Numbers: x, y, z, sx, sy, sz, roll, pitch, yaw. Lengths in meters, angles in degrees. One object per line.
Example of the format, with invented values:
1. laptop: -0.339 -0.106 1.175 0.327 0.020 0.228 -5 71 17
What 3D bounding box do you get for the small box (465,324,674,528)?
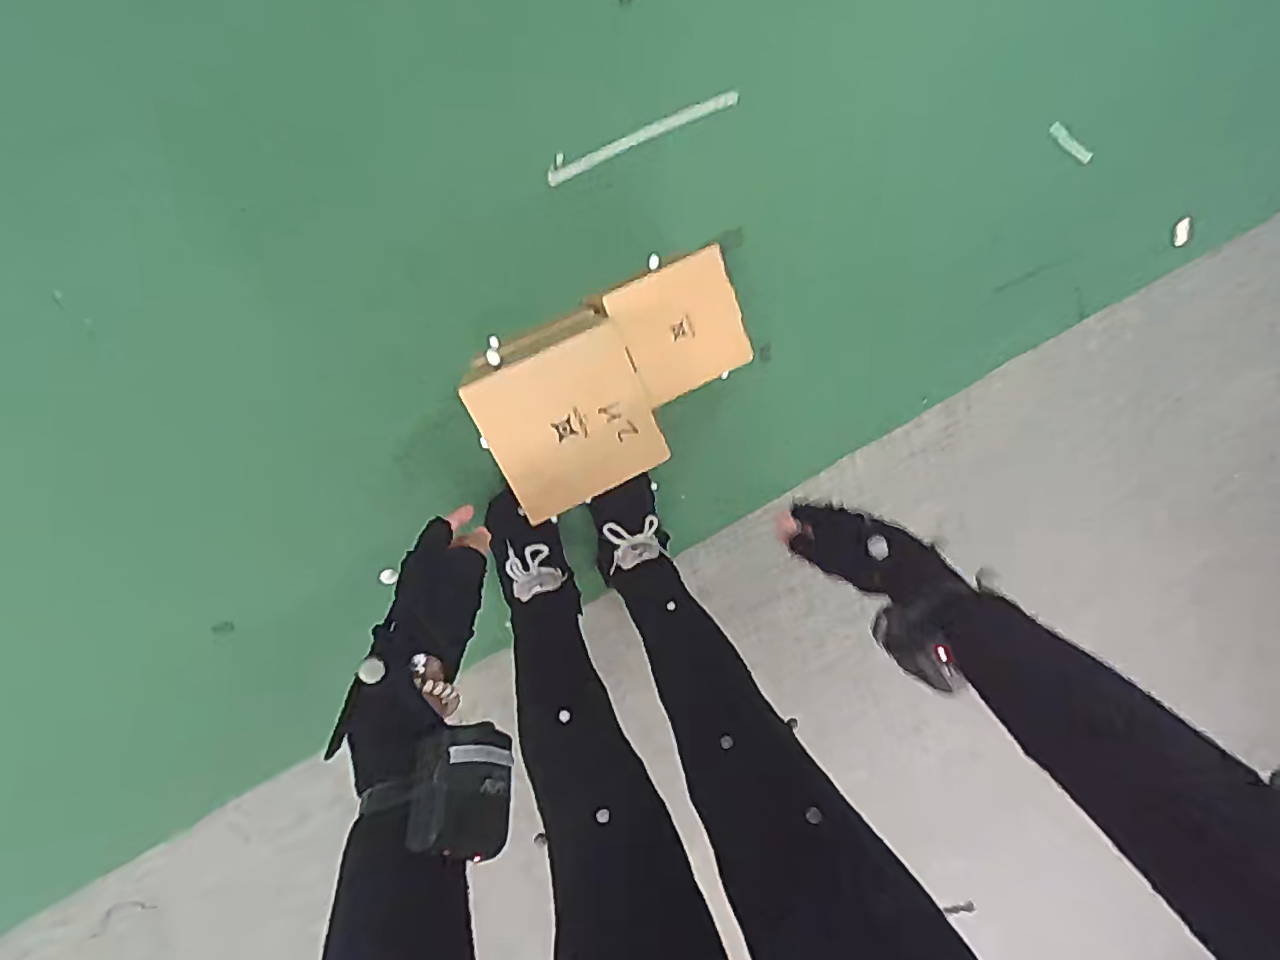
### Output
1. small box: -0.085 -0.074 0.641 0.179 0.176 0.168 -26 113 -6
